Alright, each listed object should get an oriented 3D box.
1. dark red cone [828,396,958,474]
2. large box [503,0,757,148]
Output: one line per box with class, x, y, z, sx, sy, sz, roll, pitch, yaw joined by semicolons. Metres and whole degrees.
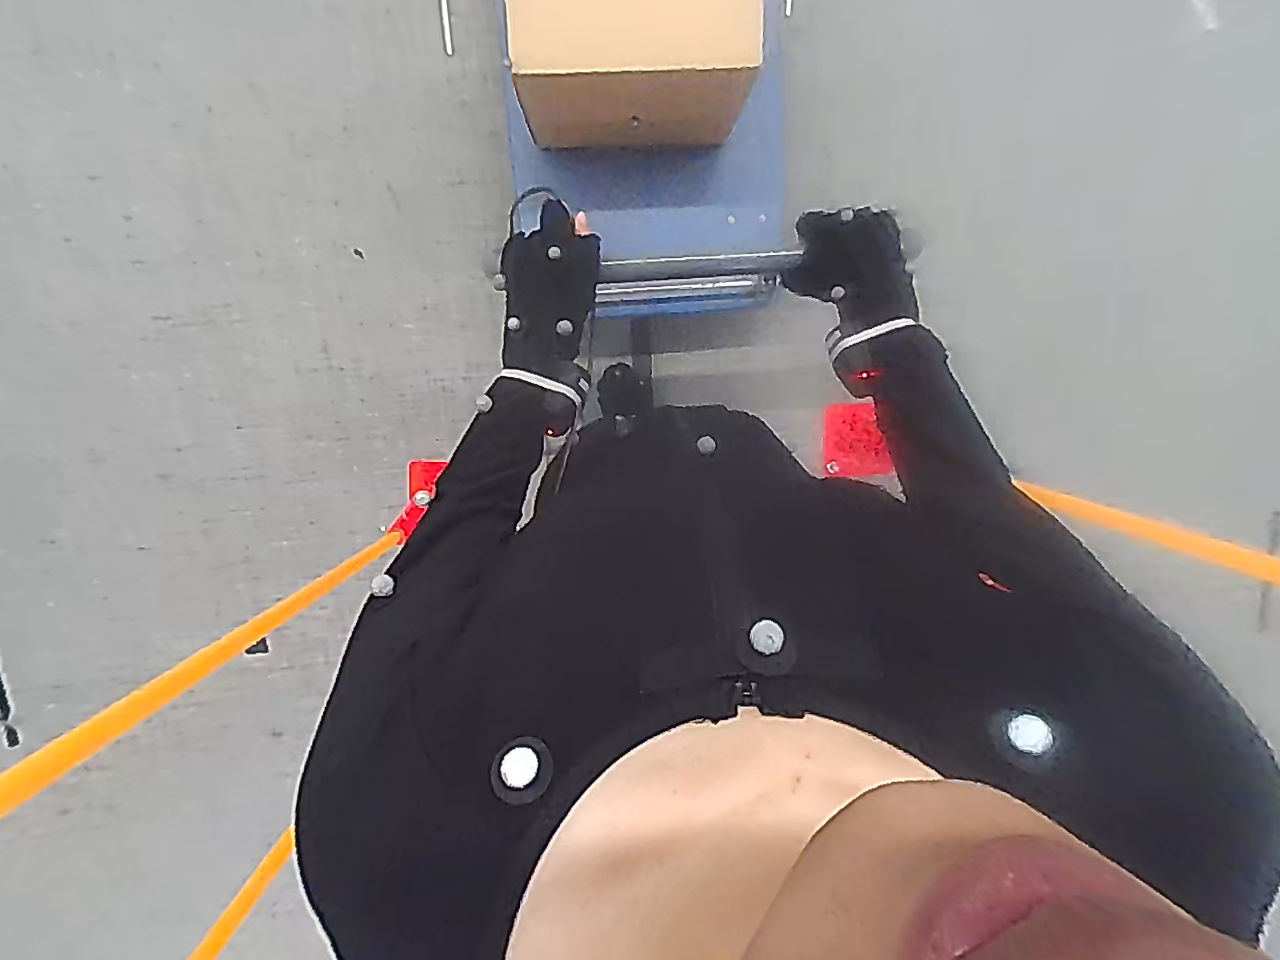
dark red cone;0.612;-0.086;1.286;0.201;0.394;0.202;-4;102;-4
large box;-0.022;-0.830;0.978;0.408;0.320;0.320;-3;102;-2
